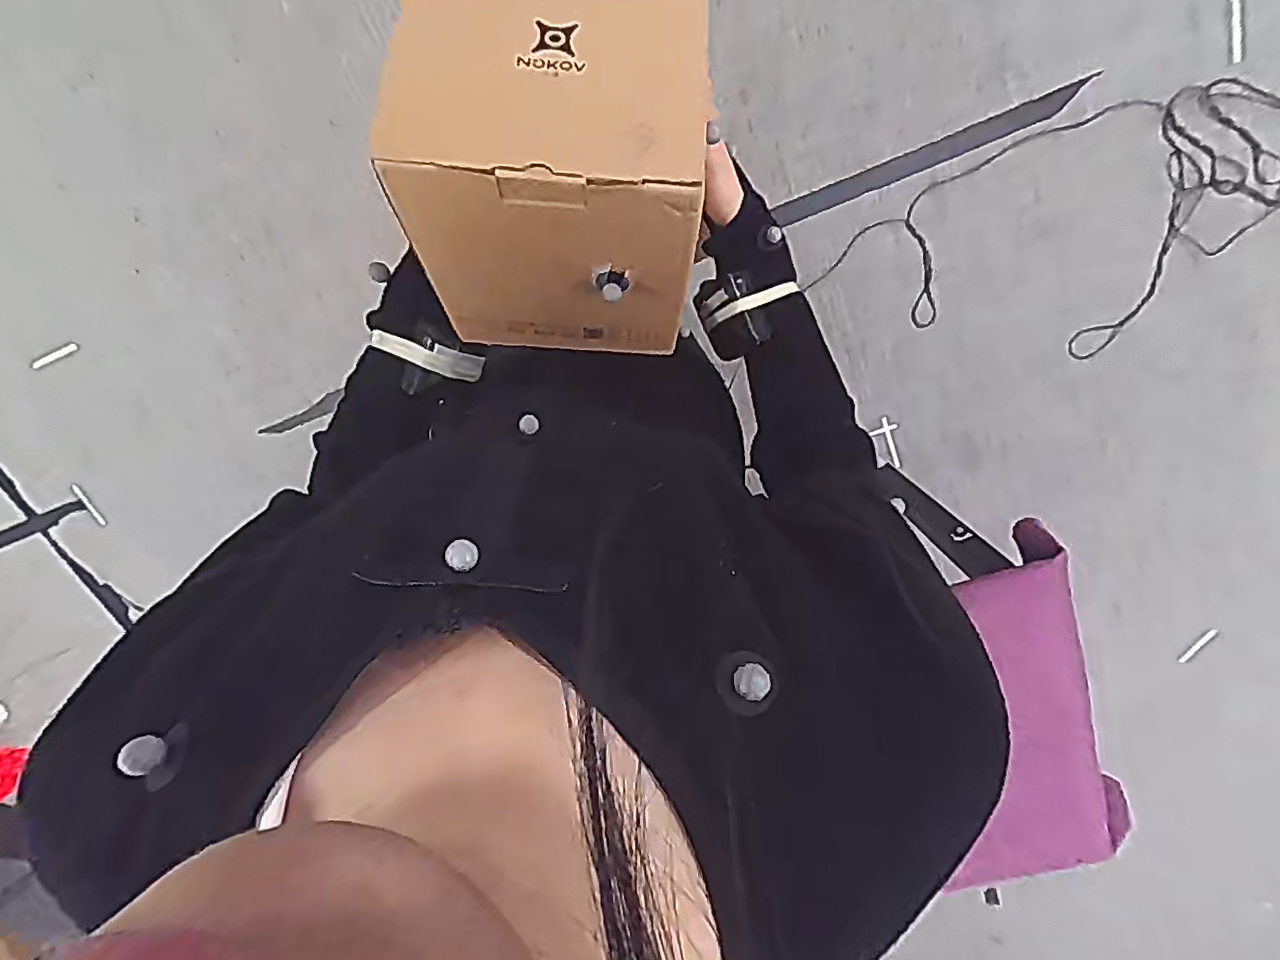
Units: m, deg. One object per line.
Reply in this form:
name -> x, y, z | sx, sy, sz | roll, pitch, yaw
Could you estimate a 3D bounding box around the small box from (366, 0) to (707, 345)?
small box -> -0.051, -0.209, 0.360 | 0.168, 0.176, 0.179 | 4, 73, -3
